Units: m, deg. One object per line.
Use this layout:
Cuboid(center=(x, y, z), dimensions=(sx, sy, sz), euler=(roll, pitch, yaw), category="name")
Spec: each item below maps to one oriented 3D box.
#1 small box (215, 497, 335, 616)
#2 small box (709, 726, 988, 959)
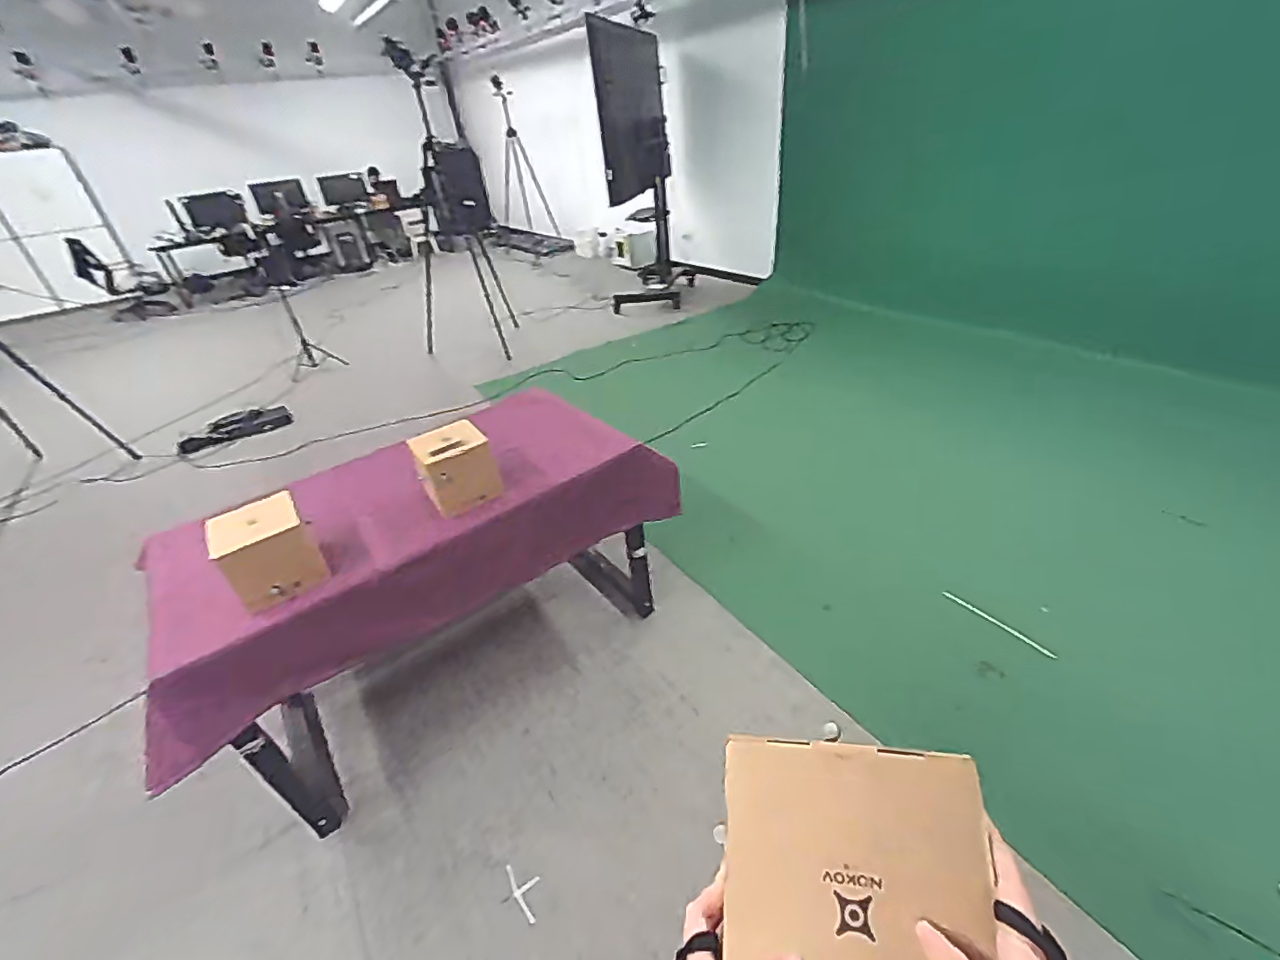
Cuboid(center=(-0.818, 0.171, 1.217), dimensions=(0.168, 0.176, 0.179), euler=(-27, 39, -26), category="small box")
Cuboid(center=(0.145, 0.294, 0.416), dimensions=(0.168, 0.176, 0.179), euler=(-2, 65, 14), category="small box")
